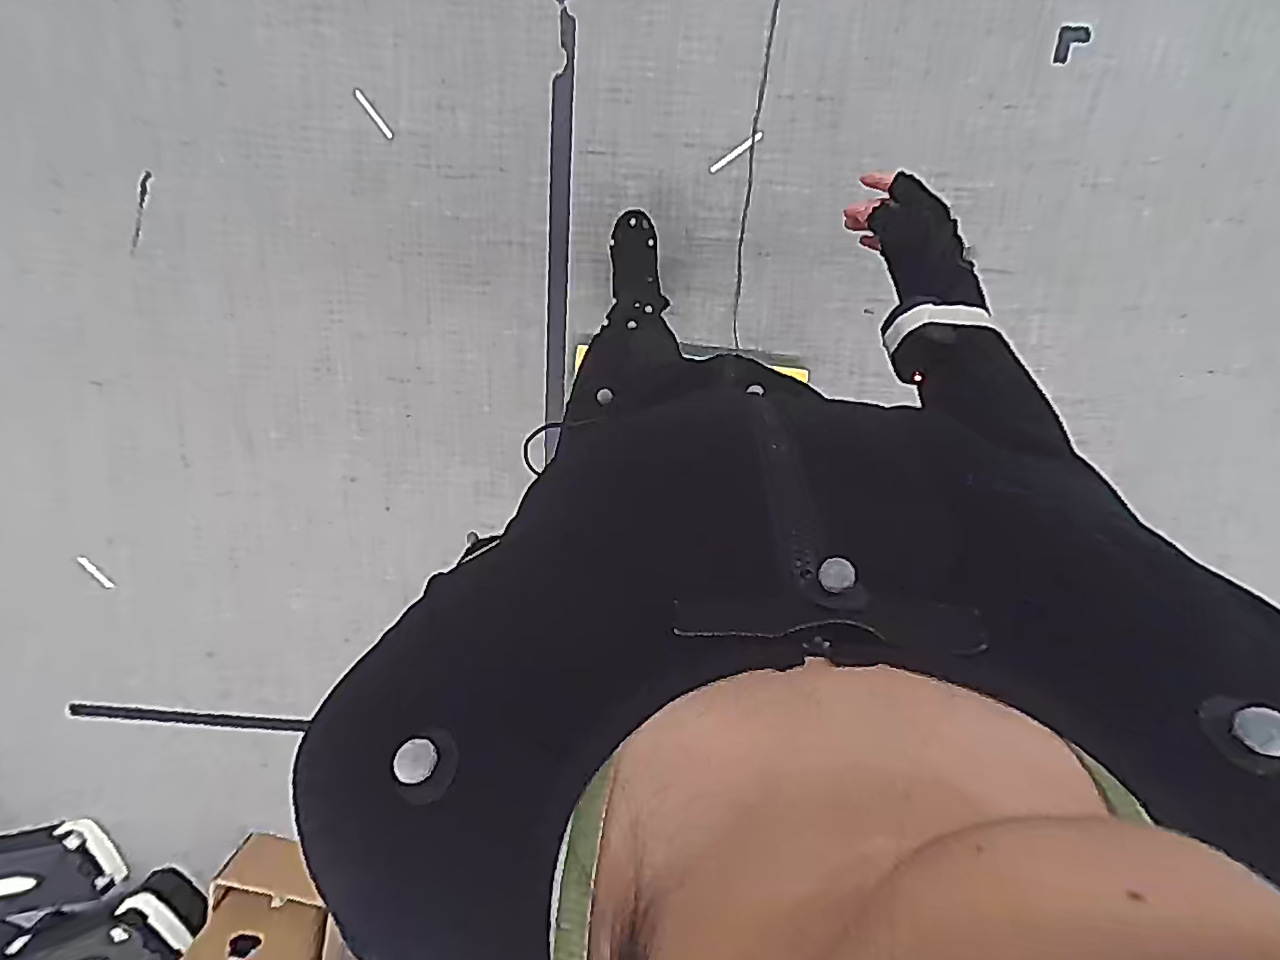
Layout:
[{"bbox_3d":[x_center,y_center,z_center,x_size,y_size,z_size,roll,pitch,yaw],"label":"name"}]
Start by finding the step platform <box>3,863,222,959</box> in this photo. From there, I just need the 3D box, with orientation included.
[{"bbox_3d":[-1.933,1.676,1.981,0.684,0.204,0.286,-24,105,8],"label":"step platform"}]
